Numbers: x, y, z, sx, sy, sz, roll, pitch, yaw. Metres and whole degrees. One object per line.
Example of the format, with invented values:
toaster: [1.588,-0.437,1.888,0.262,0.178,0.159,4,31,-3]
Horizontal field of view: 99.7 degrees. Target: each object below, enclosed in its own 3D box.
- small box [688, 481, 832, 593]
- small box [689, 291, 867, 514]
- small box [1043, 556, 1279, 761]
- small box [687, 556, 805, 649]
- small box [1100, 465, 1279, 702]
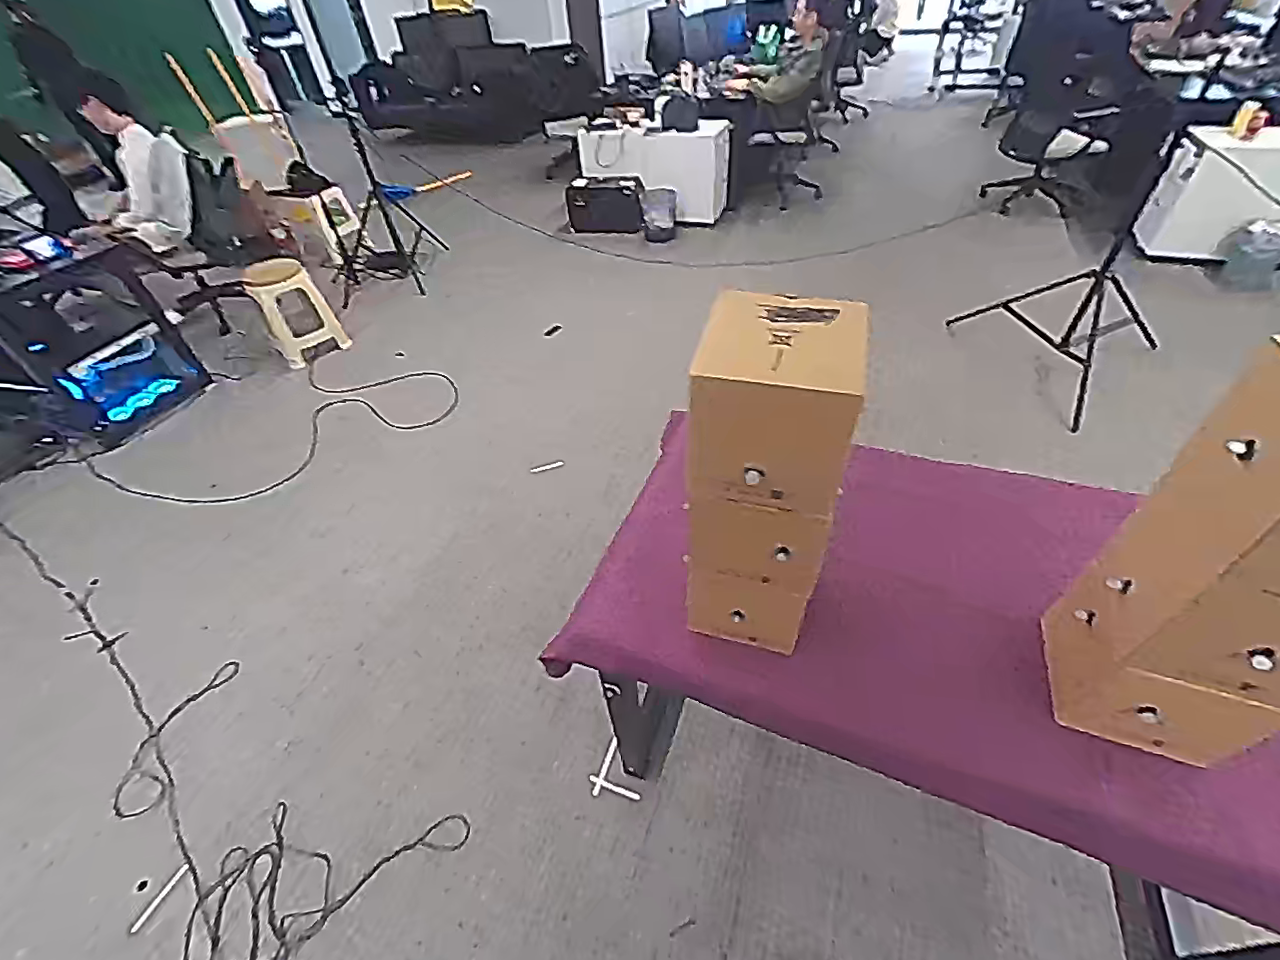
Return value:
small box: [0.163,0.027,0.730,0.168,0.176,0.179,10,45,13]
small box: [0.152,-0.090,0.615,0.168,0.176,0.179,10,47,14]
small box: [0.666,0.234,0.711,0.168,0.176,0.179,13,47,18]
small box: [0.174,0.137,0.849,0.168,0.176,0.179,11,46,15]
small box: [0.657,0.114,0.599,0.168,0.176,0.179,14,47,19]
